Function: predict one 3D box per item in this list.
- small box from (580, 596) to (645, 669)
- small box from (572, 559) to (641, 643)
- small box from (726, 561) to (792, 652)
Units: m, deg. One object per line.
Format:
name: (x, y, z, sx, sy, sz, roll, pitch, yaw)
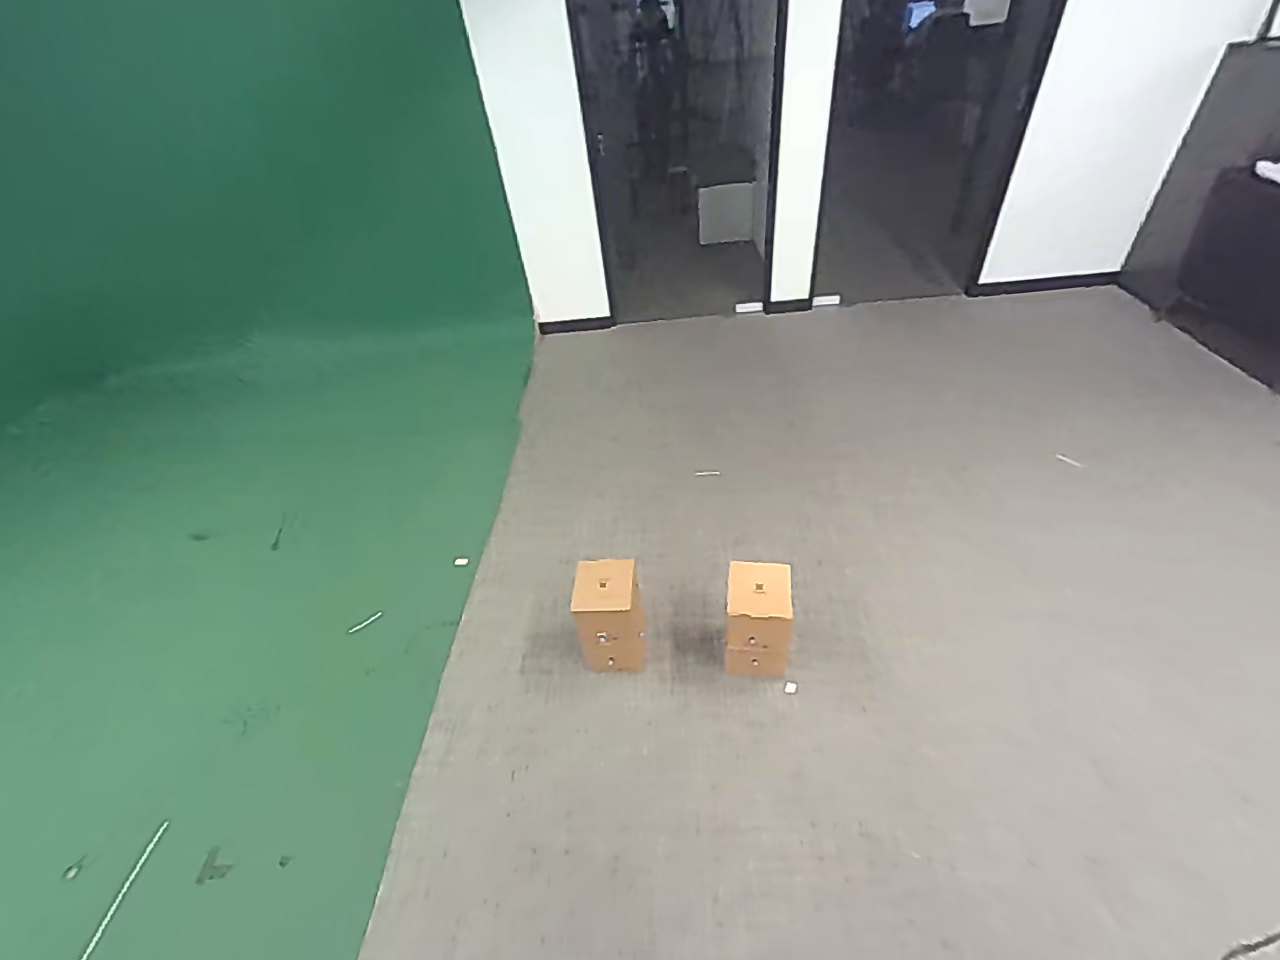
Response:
small box: (-0.078, 0.465, 1.663, 0.168, 0.176, 0.179, 0, 44, 8)
small box: (-0.091, 0.346, 1.552, 0.168, 0.176, 0.179, -3, 43, 6)
small box: (0.324, 0.348, 1.491, 0.168, 0.176, 0.179, 2, 44, 11)
